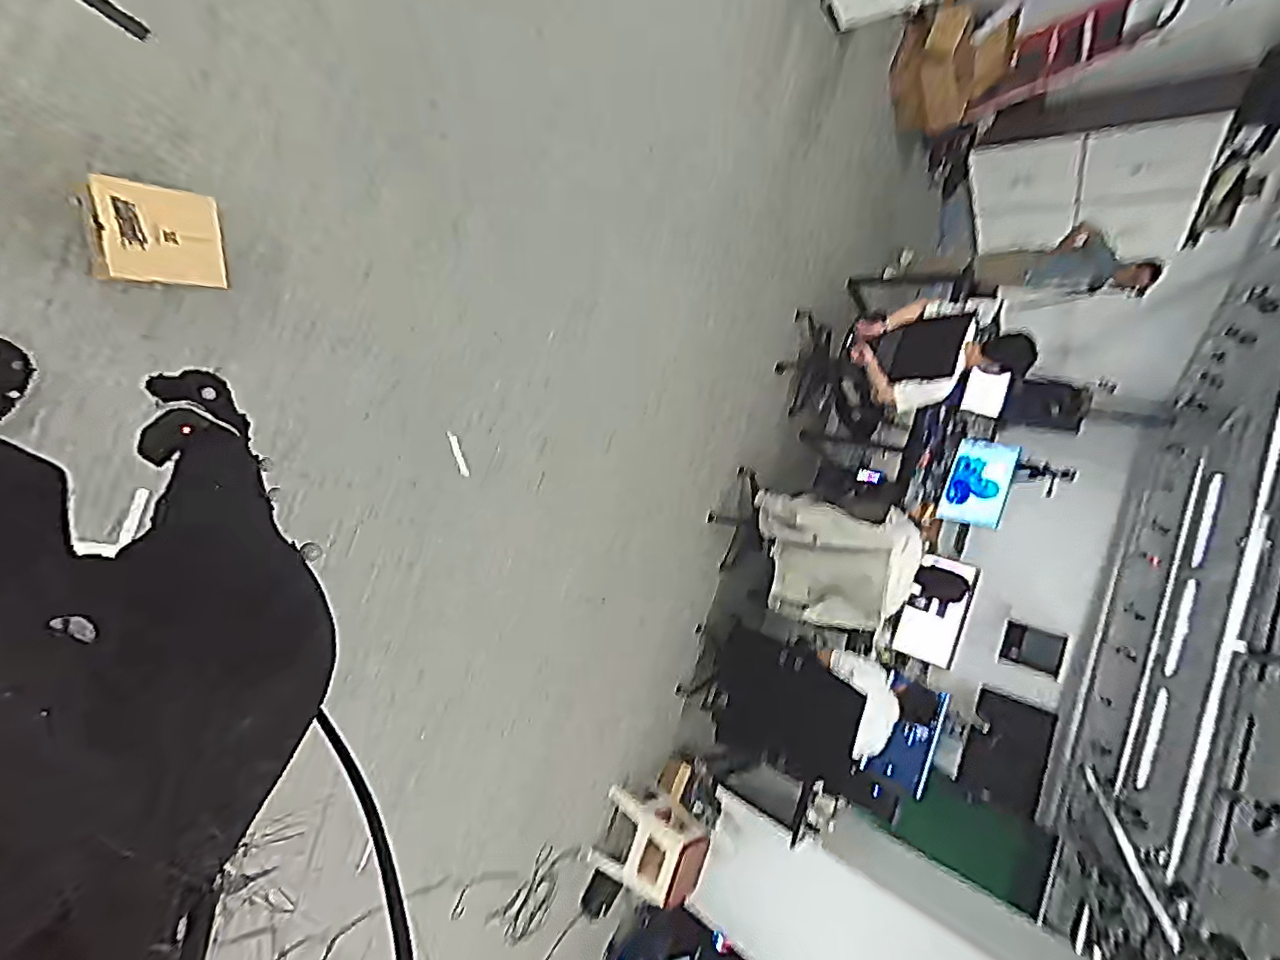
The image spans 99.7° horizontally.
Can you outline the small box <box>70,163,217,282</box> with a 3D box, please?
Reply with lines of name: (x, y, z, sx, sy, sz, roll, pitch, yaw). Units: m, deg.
small box: (-0.935, -0.470, 1.018, 0.179, 0.176, 0.168, -14, 113, -50)
